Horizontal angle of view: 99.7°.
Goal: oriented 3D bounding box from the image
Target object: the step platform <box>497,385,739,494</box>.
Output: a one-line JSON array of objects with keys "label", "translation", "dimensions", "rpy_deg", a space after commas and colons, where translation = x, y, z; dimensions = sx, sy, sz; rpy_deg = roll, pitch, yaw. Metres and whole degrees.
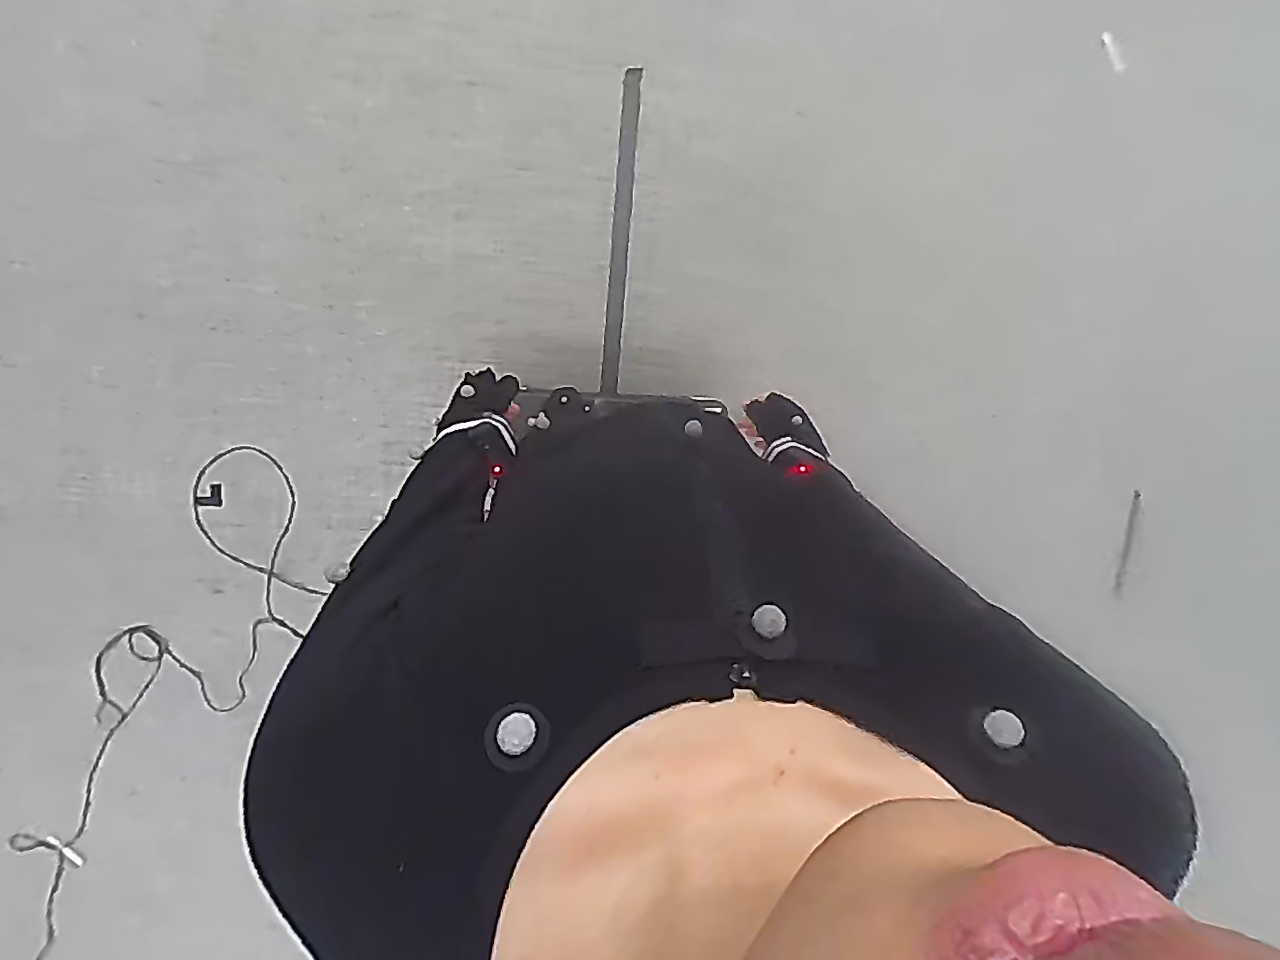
[{"label": "step platform", "translation": [-0.061, -0.117, 1.556], "dimensions": [0.684, 0.204, 0.286], "rpy_deg": [1, 100, -7]}]
